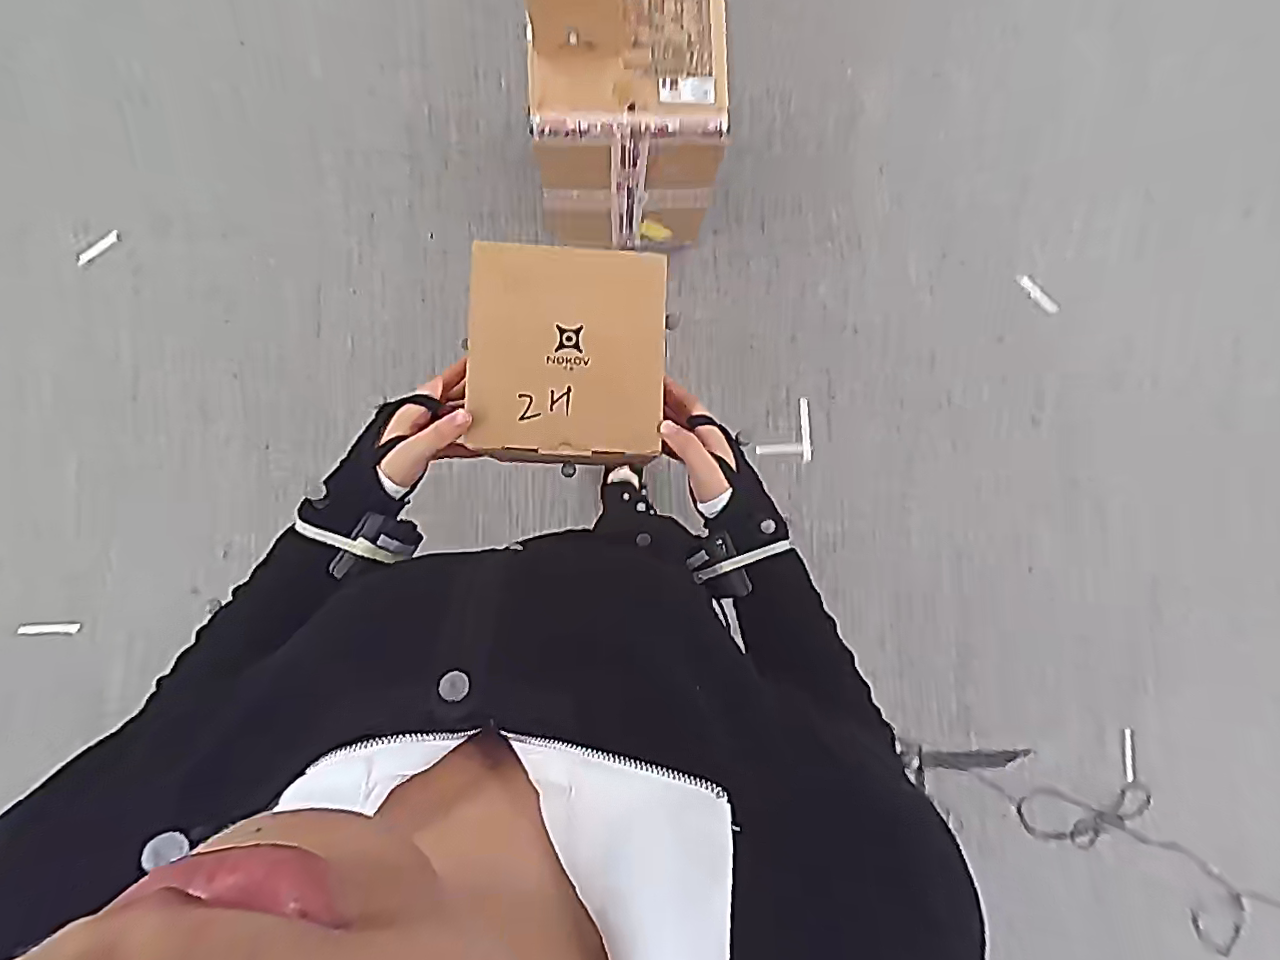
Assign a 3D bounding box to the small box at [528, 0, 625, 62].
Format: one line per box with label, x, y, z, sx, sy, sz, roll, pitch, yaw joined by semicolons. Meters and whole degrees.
small box;-0.112;-0.889;0.954;0.168;0.176;0.179;-1;91;0
